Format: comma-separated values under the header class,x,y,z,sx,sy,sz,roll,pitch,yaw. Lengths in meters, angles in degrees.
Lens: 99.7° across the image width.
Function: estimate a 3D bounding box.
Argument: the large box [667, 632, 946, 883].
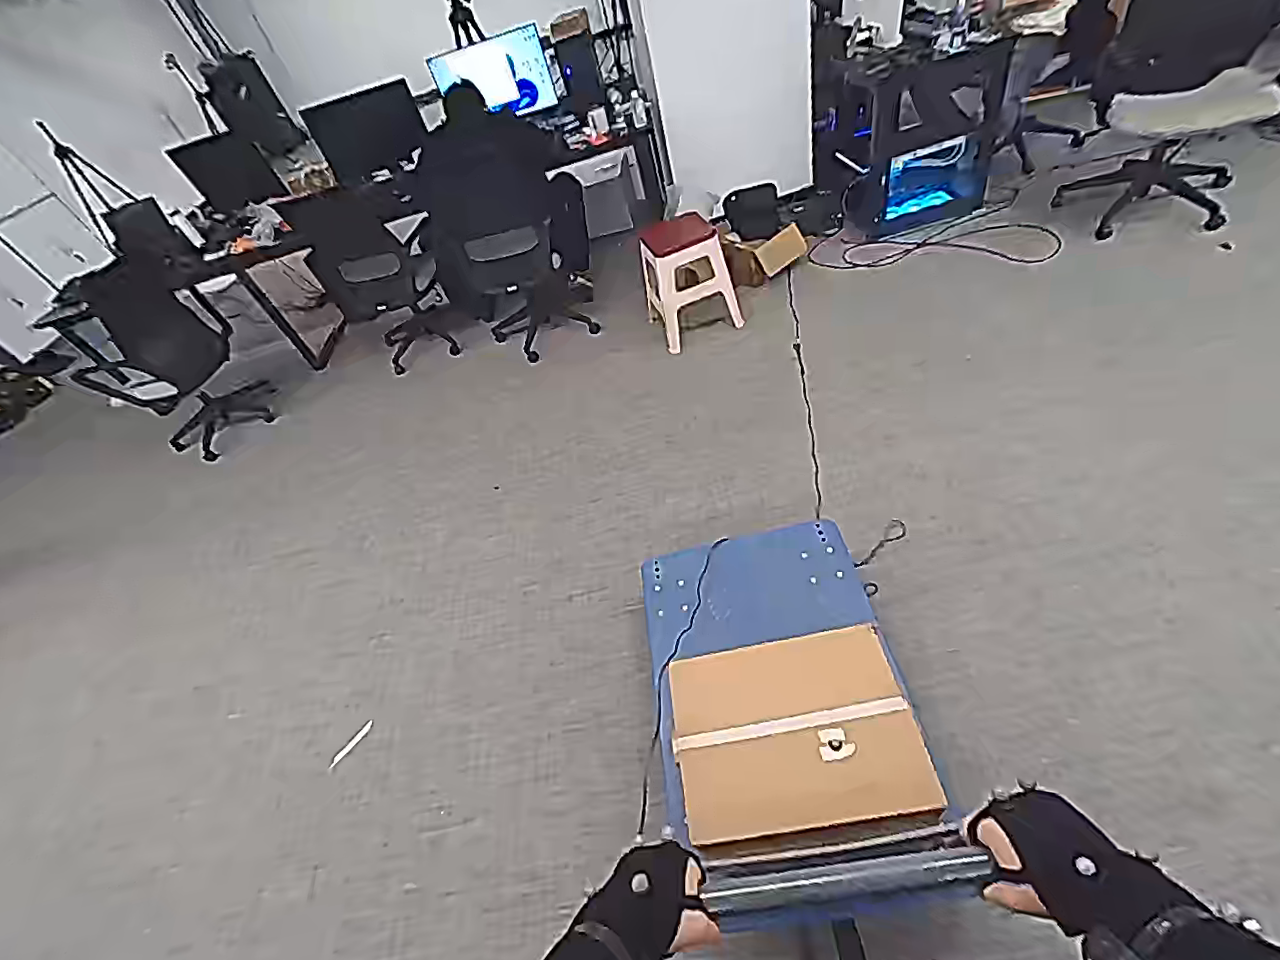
class,x,y,z,sx,sy,sz,roll,pitch,yaw
large box,0.292,0.540,1.040,0.408,0.320,0.320,-13,47,6
